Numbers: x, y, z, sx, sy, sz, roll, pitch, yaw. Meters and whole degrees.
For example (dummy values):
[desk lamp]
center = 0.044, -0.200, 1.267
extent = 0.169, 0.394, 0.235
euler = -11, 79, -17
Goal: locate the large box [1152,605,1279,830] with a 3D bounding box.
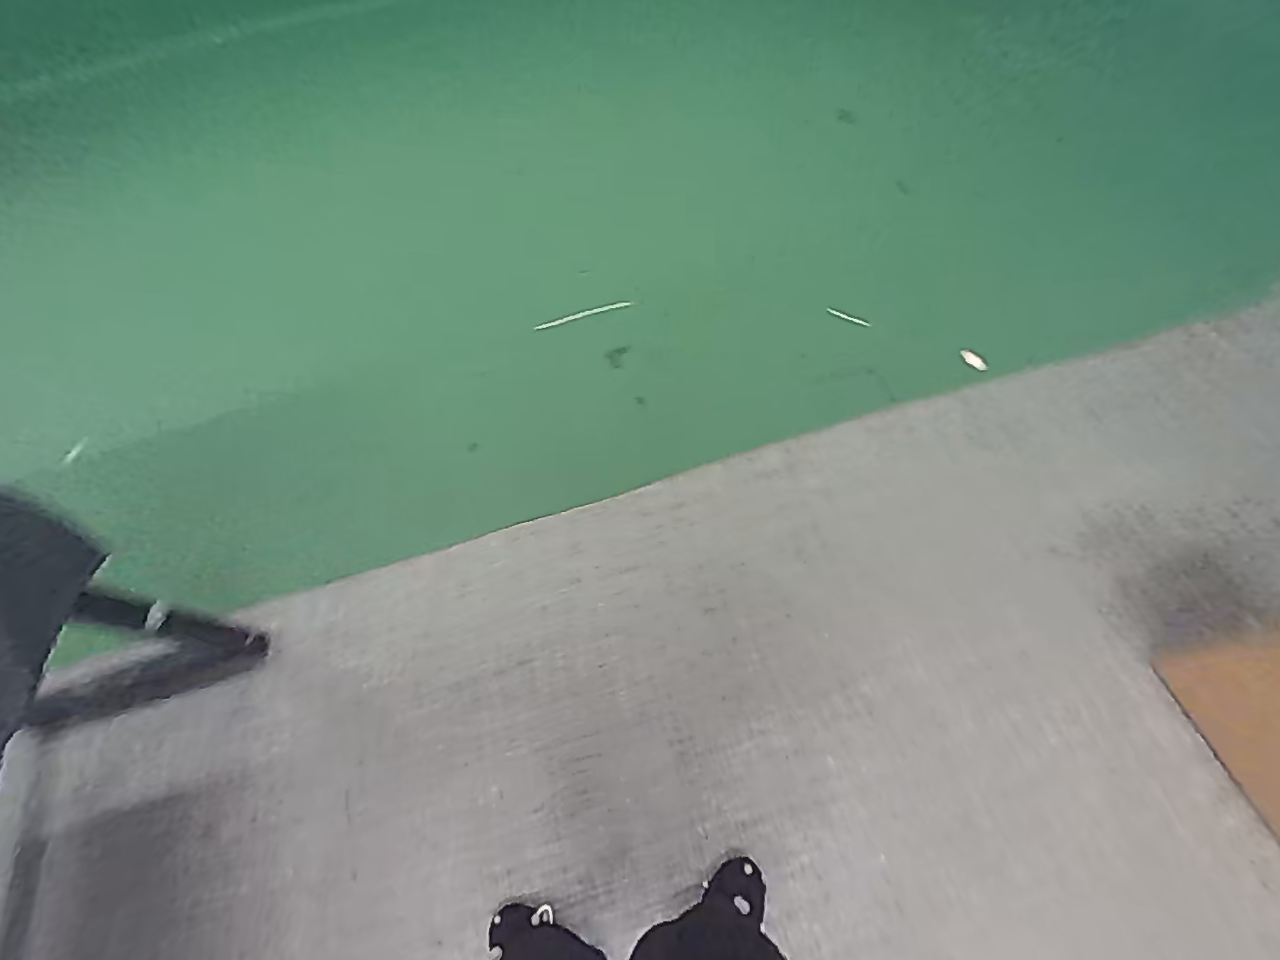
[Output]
[large box]
center = 1.289, 0.433, 0.958
extent = 0.320, 0.320, 0.408
euler = -19, 64, -3
